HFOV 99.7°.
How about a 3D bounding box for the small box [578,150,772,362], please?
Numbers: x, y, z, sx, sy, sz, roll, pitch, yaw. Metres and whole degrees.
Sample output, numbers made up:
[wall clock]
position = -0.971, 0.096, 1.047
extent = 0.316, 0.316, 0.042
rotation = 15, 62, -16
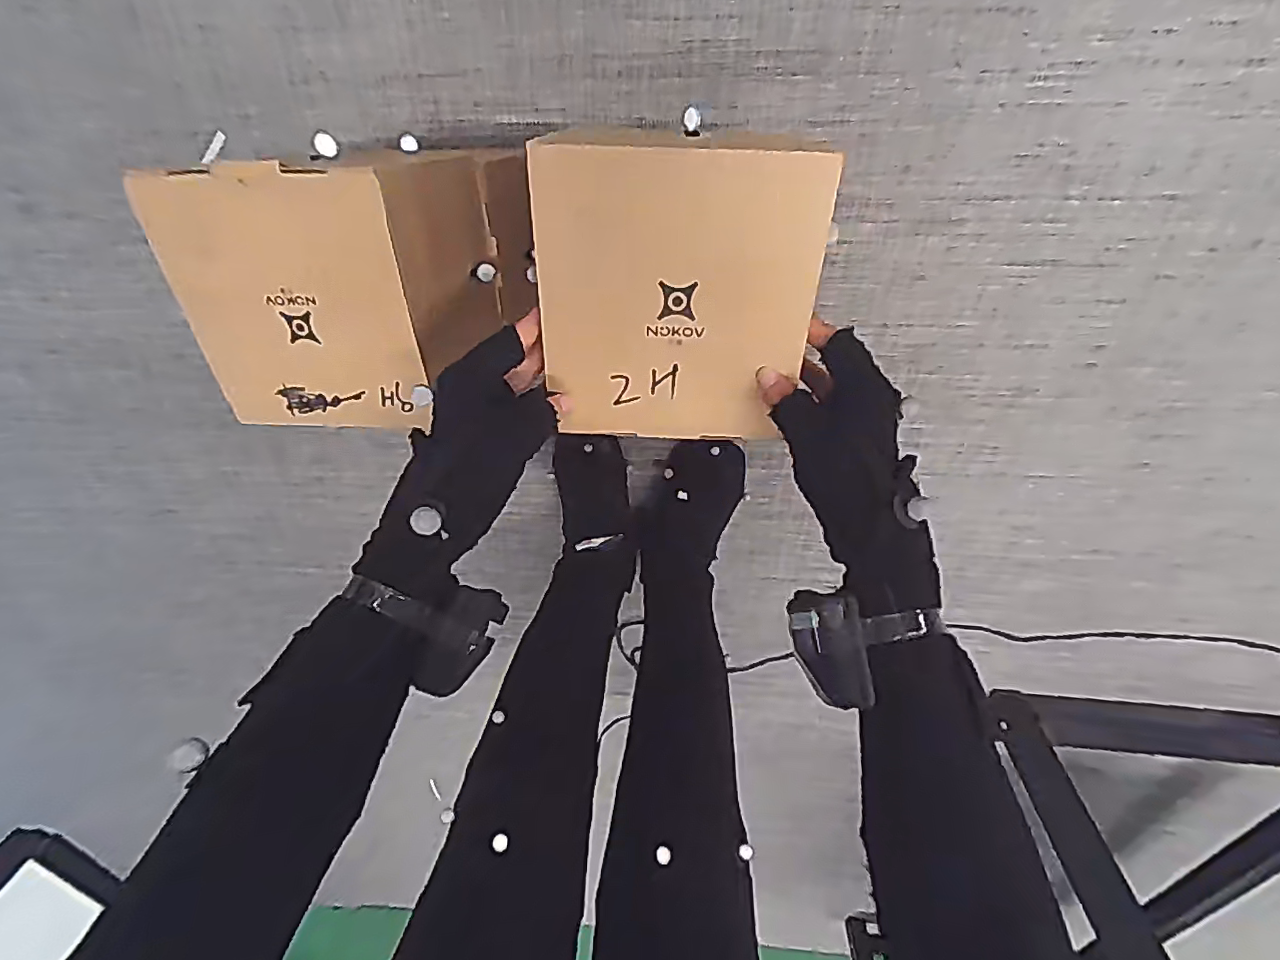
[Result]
[small box]
position = 0.037, -0.236, 0.562
extent = 0.168, 0.176, 0.179
rotation = 2, 123, 5
